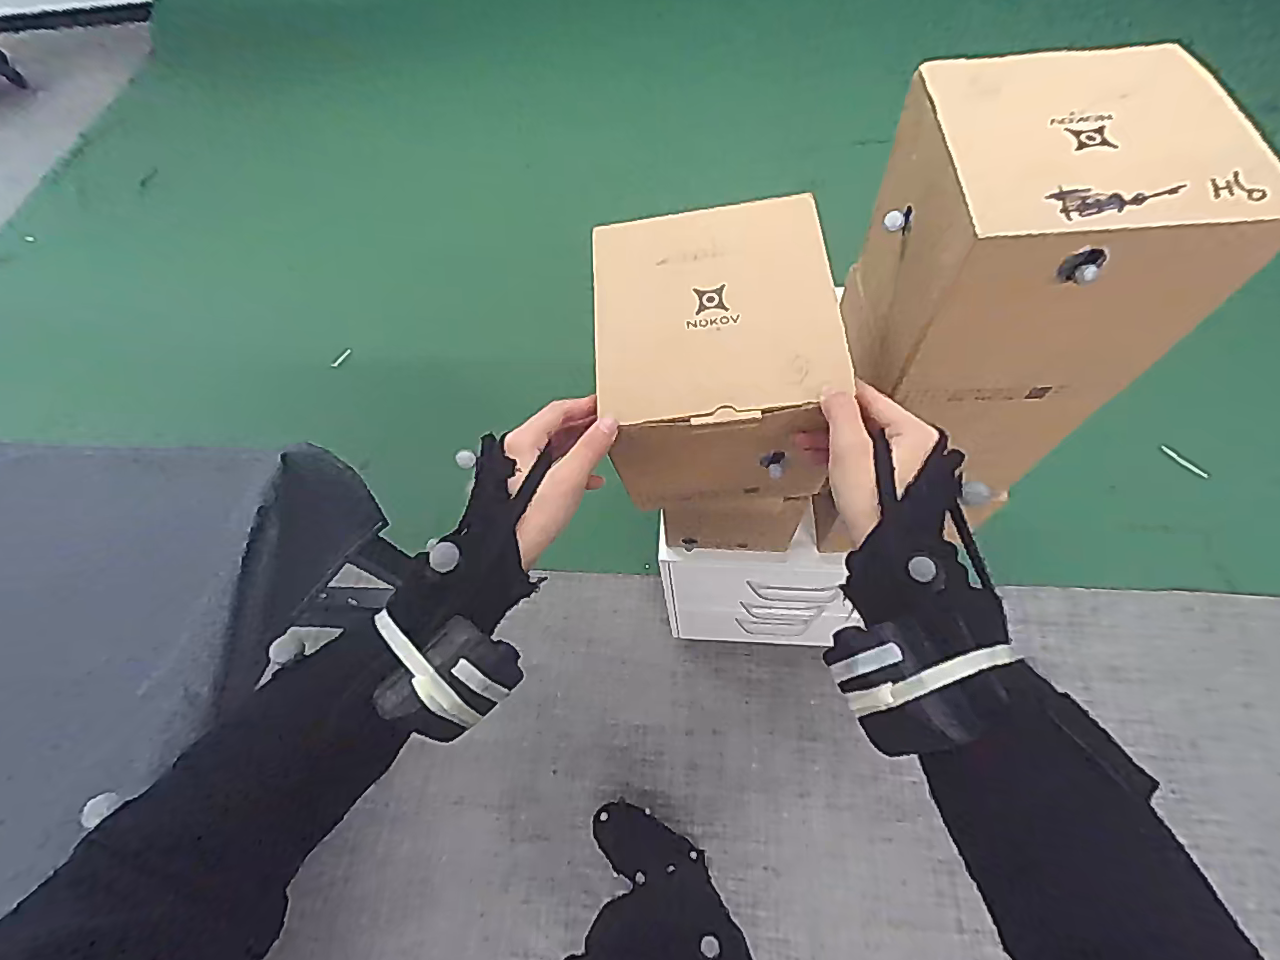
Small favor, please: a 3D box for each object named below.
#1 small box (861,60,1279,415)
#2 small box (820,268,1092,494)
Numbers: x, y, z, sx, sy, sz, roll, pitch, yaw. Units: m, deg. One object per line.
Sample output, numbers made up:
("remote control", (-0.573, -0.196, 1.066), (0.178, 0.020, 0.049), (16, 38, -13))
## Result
("small box", (0.276, -0.167, 0.398), (0.168, 0.176, 0.179), (0, 62, 6))
("small box", (0.289, -0.092, 0.543), (0.168, 0.176, 0.179), (-2, 63, 4))
